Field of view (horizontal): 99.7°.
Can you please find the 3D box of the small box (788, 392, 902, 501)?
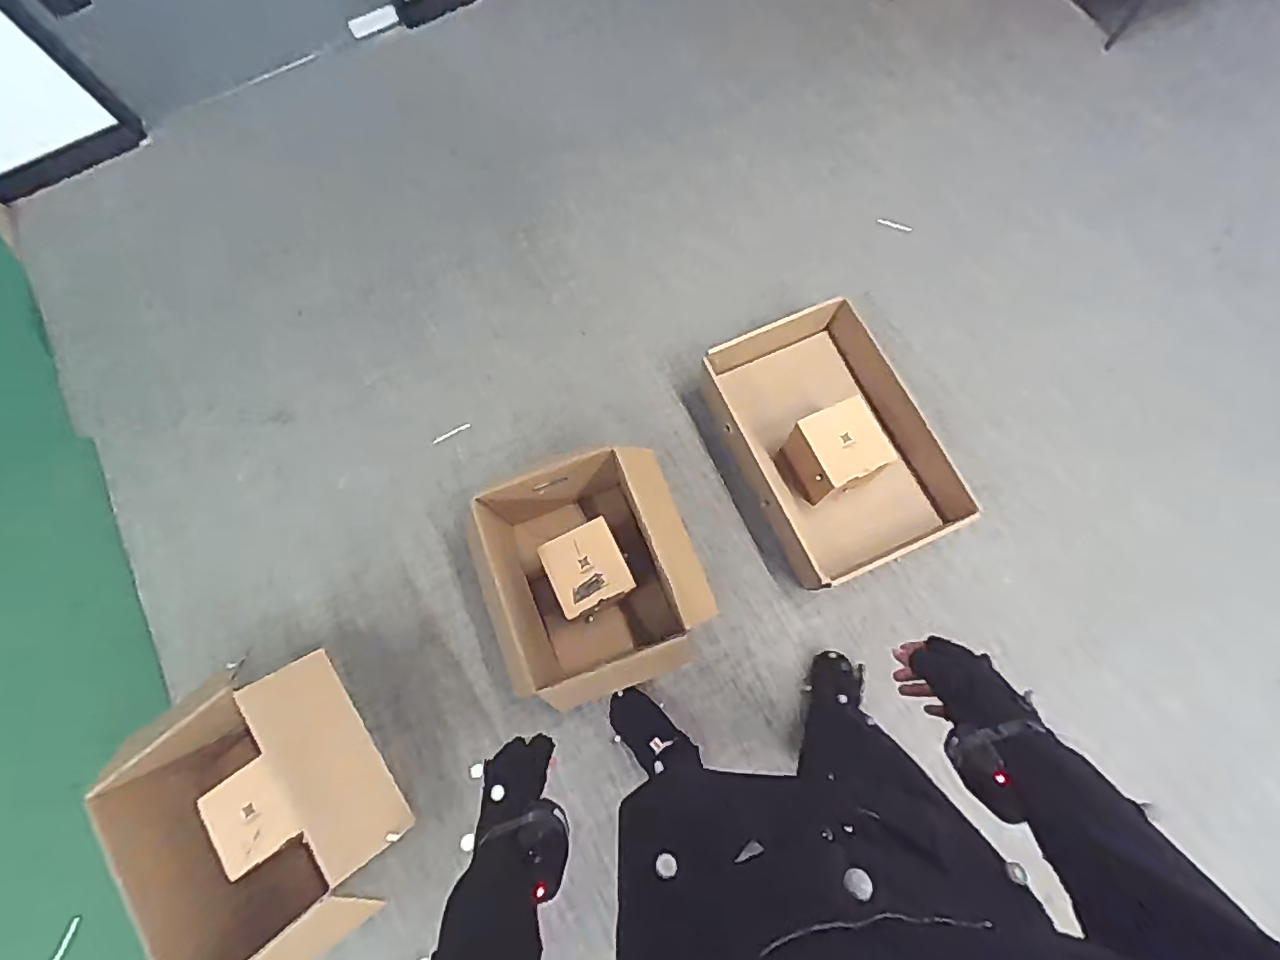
[{"bbox_3d":[0.473,-0.073,1.282,0.168,0.176,0.179,-24,75,-5],"label":"small box"}]
